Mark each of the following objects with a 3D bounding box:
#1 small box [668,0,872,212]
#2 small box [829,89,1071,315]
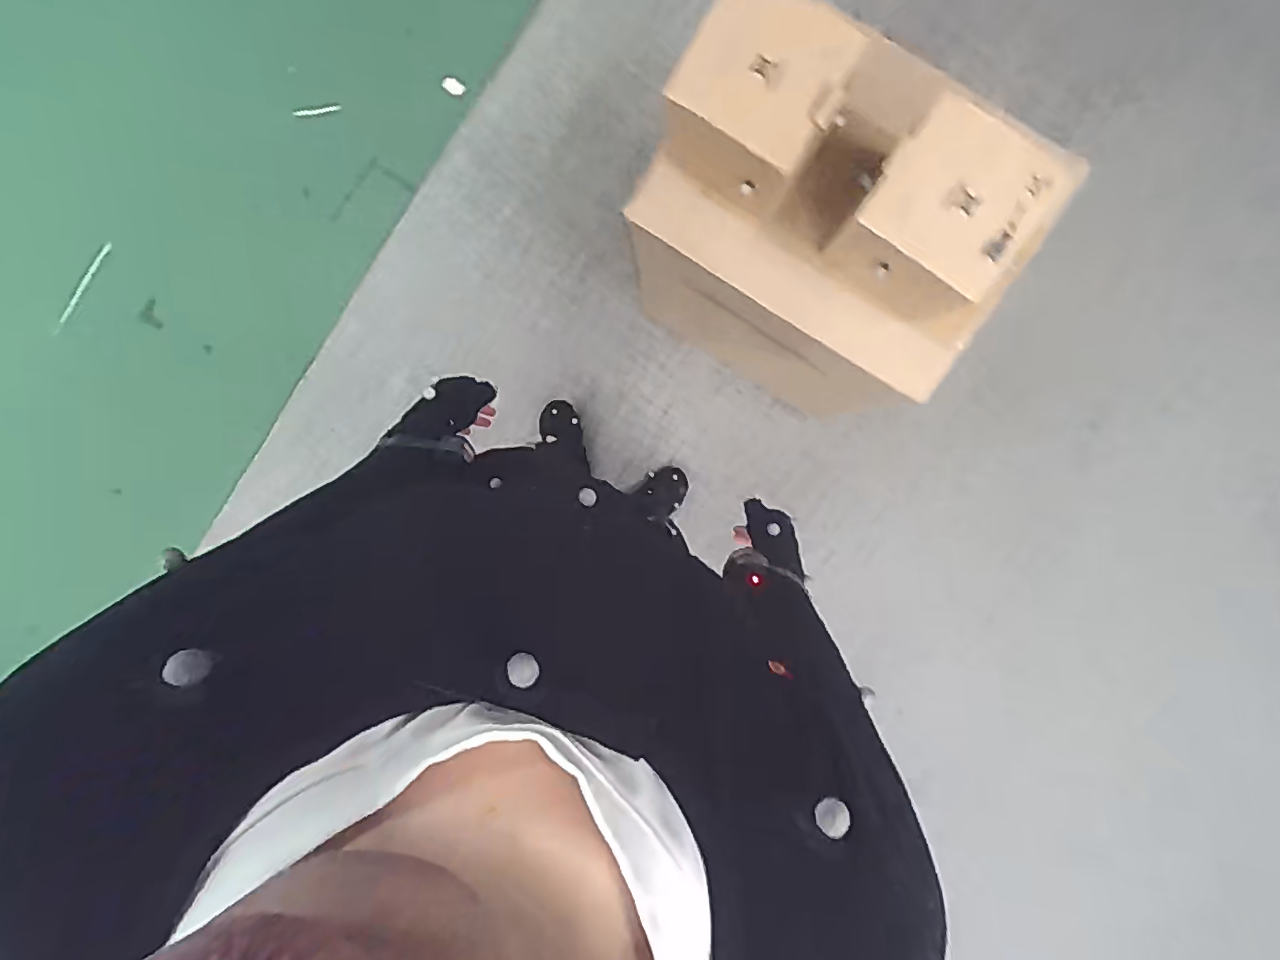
[{"bbox_3d":[0.155,-0.478,0.696,0.179,0.176,0.168,33,98,2],"label":"small box"},{"bbox_3d":[0.373,-0.333,0.693,0.179,0.176,0.168,35,99,0],"label":"small box"}]
